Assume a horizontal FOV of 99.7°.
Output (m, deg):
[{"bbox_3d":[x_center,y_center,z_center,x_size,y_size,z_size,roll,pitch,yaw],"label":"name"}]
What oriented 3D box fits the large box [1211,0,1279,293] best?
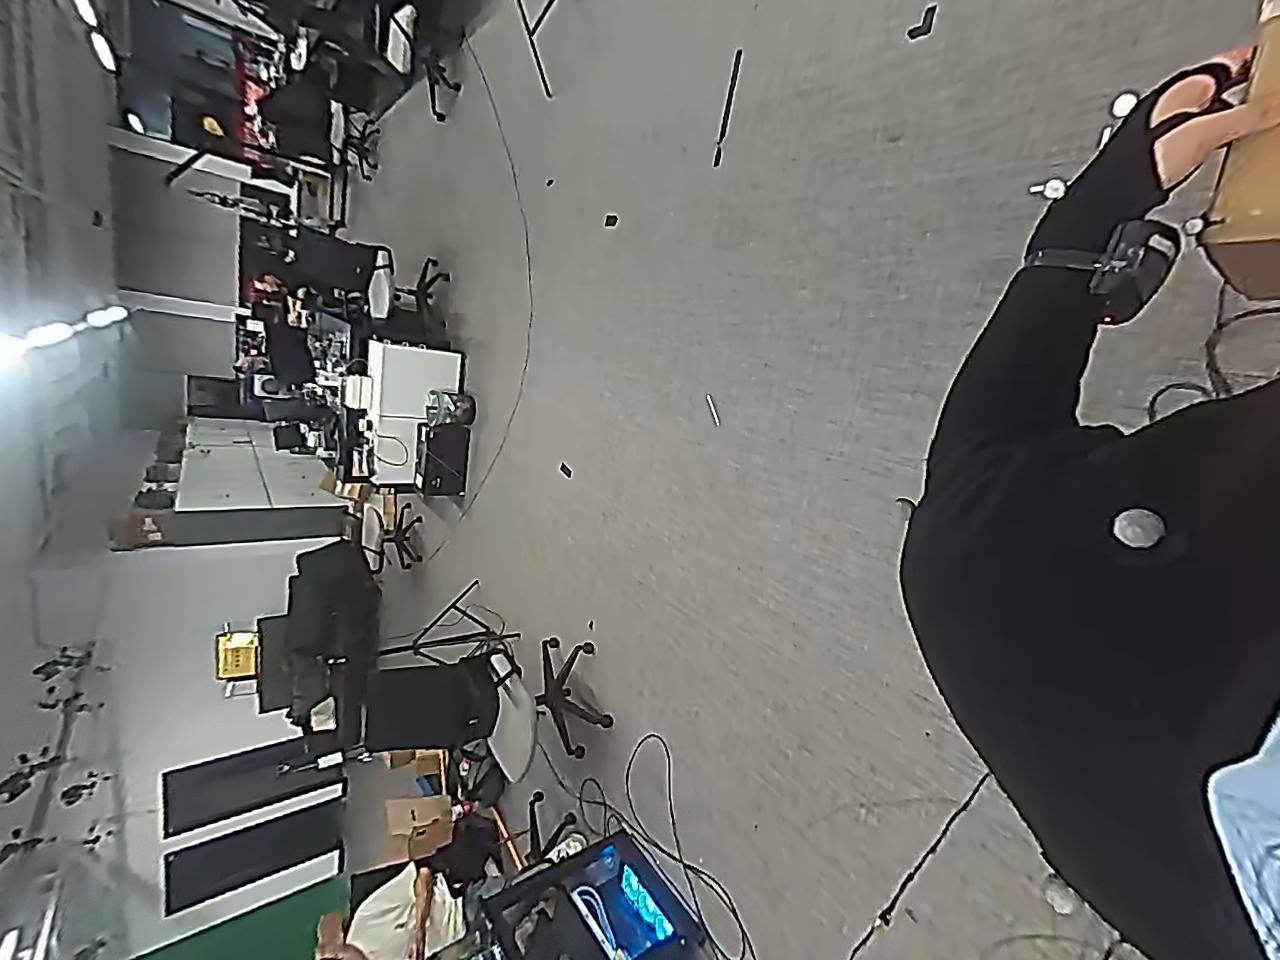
[{"bbox_3d":[0.681,-0.295,0.309,0.408,0.320,0.320,21,109,52],"label":"large box"}]
